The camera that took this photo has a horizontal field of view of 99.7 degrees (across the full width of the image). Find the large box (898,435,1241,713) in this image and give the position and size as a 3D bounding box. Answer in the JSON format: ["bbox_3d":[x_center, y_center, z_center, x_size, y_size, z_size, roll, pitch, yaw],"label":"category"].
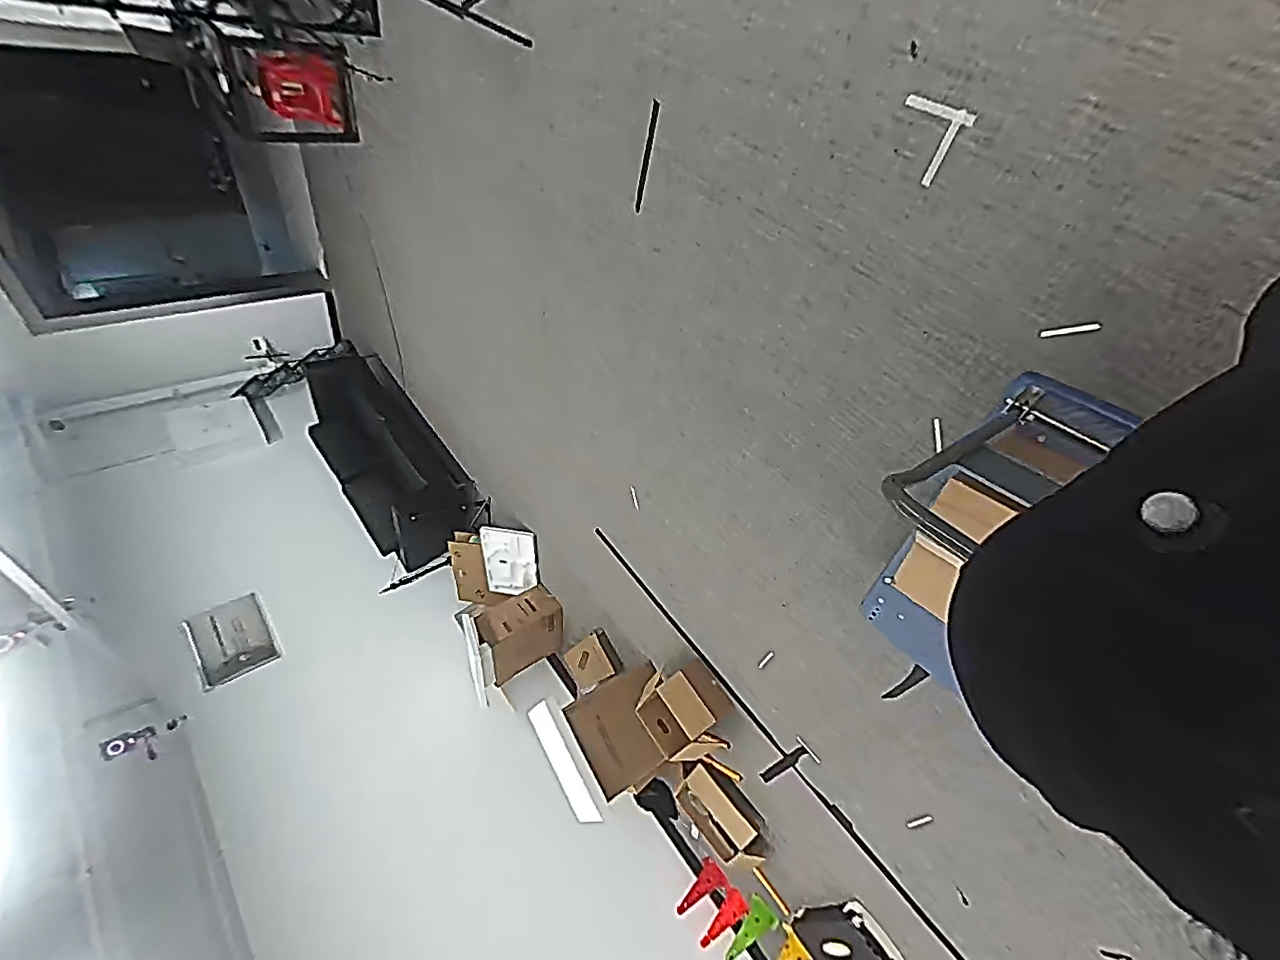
[{"bbox_3d":[0.835,0.164,1.096,0.408,0.320,0.320,40,137,35],"label":"large box"}]
